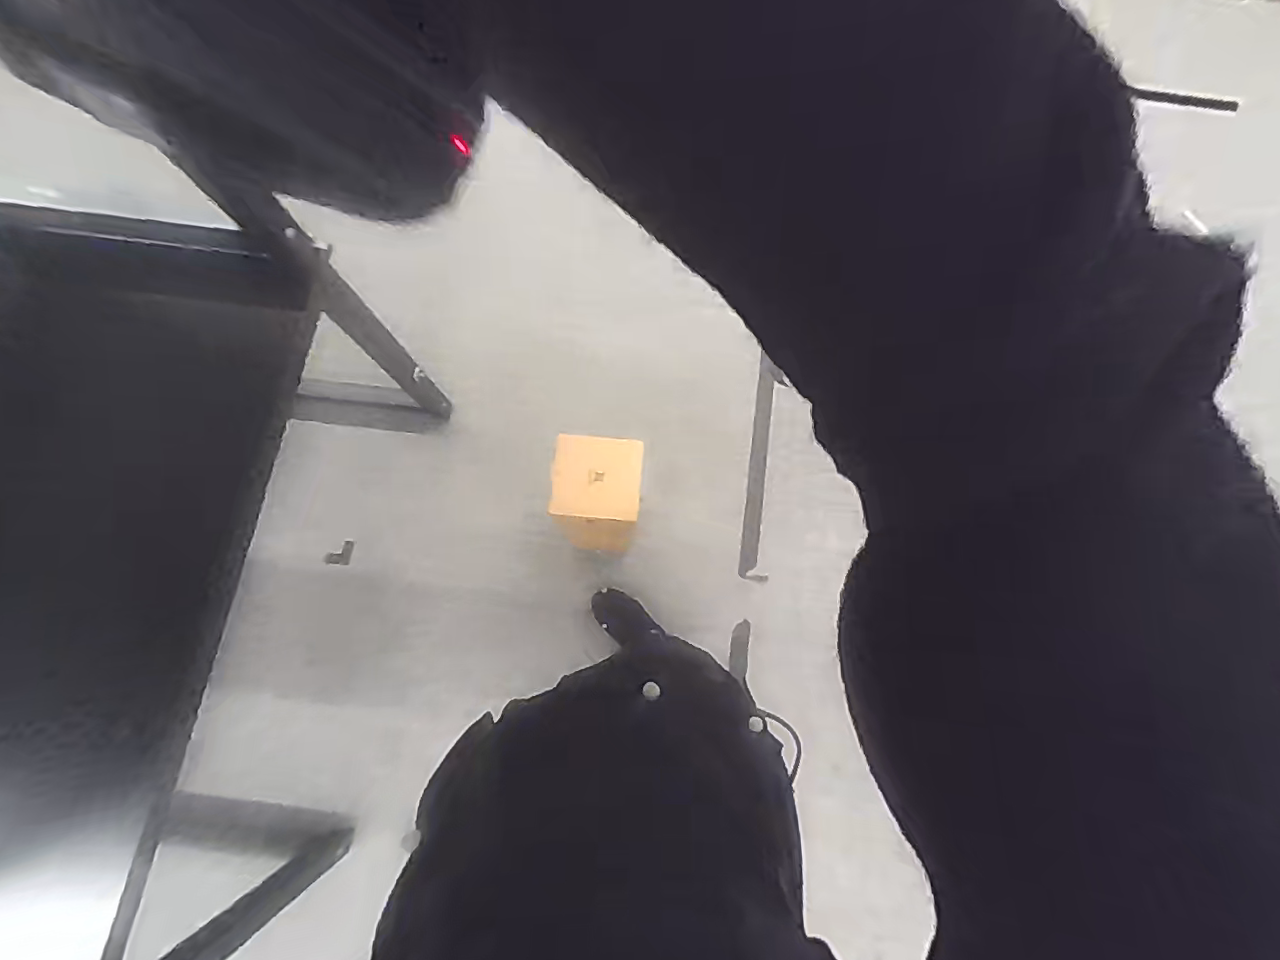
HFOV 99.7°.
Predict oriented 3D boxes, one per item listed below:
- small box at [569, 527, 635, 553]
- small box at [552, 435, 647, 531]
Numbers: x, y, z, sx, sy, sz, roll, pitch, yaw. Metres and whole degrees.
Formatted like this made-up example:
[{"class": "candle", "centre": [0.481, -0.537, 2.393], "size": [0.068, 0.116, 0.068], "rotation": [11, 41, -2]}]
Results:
[{"class": "small box", "centre": [-0.093, 0.094, 1.456], "size": [0.168, 0.176, 0.179], "rotation": [6, 77, 0]}, {"class": "small box", "centre": [-0.080, 0.014, 1.139], "size": [0.179, 0.176, 0.168], "rotation": [4, 76, 0]}]
